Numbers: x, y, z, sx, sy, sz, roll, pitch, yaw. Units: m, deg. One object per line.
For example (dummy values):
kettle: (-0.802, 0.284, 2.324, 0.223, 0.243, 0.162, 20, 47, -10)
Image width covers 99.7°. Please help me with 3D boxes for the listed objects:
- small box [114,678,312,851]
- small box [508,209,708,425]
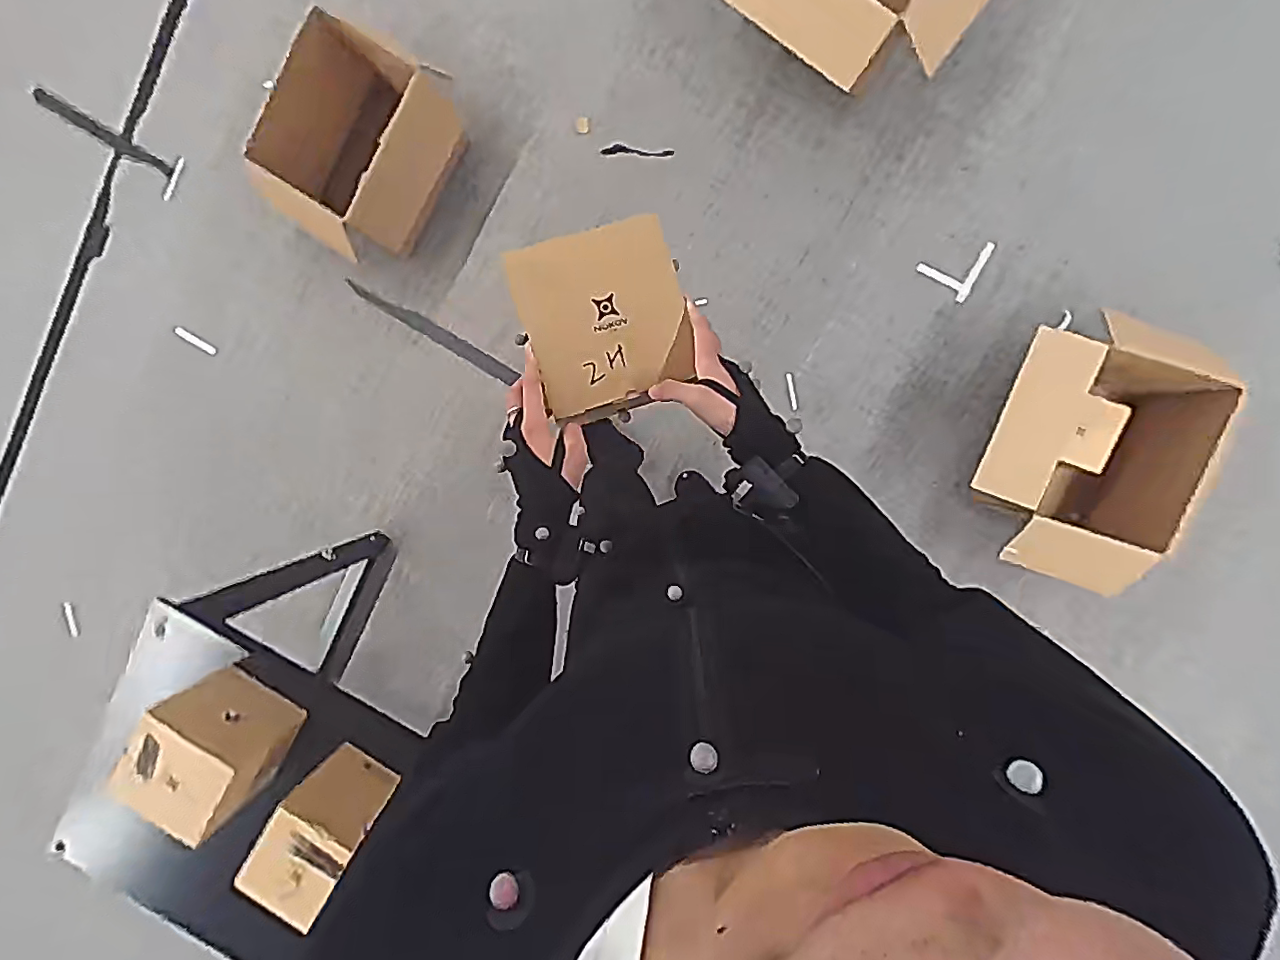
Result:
small box: (-0.721, 0.472, 0.931, 0.179, 0.176, 0.168, 31, 99, 0)
small box: (-0.041, -0.172, 0.622, 0.168, 0.176, 0.179, -18, 94, -6)
